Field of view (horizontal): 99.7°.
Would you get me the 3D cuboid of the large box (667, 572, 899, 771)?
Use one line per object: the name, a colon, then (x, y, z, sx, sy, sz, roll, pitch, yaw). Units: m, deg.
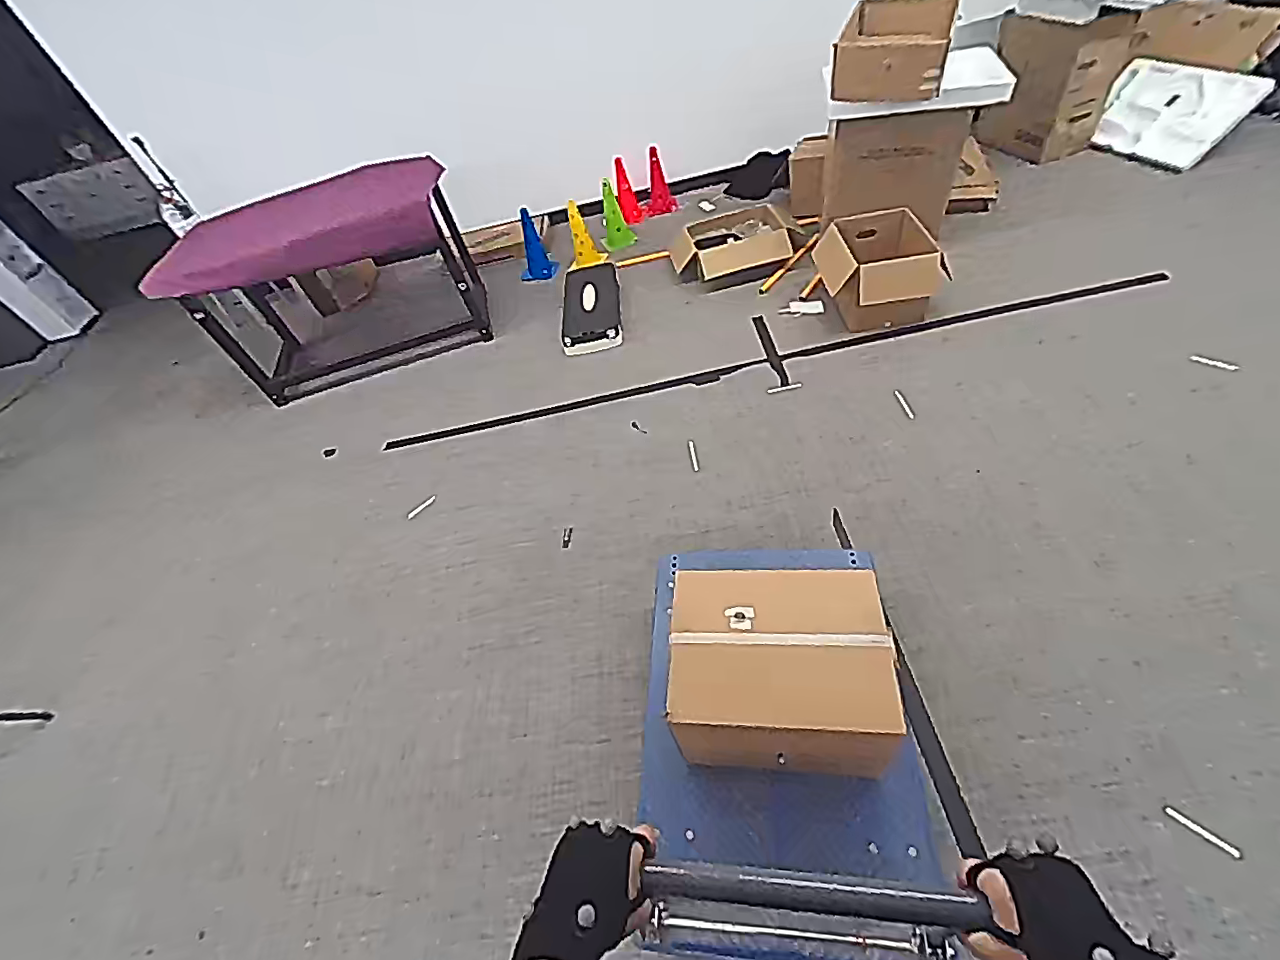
large box: (0.286, 0.412, 1.151, 0.408, 0.320, 0.320, -3, 48, 12)
